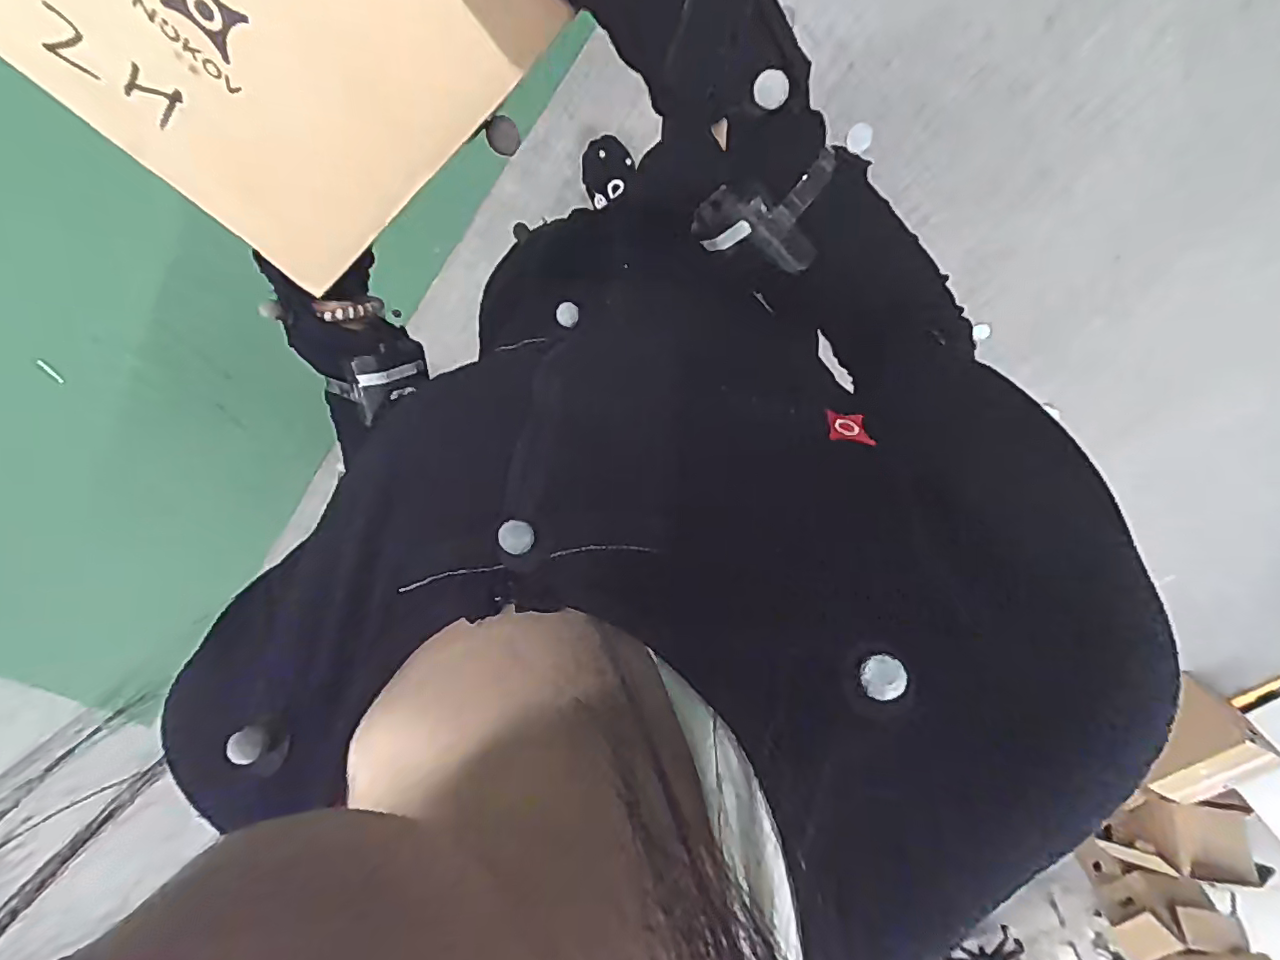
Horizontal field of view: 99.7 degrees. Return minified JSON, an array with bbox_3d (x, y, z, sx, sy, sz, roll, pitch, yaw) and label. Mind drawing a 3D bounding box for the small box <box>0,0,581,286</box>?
[{"bbox_3d":[-0.141,-0.234,0.244,0.179,0.176,0.168,-17,136,37],"label":"small box"}]
